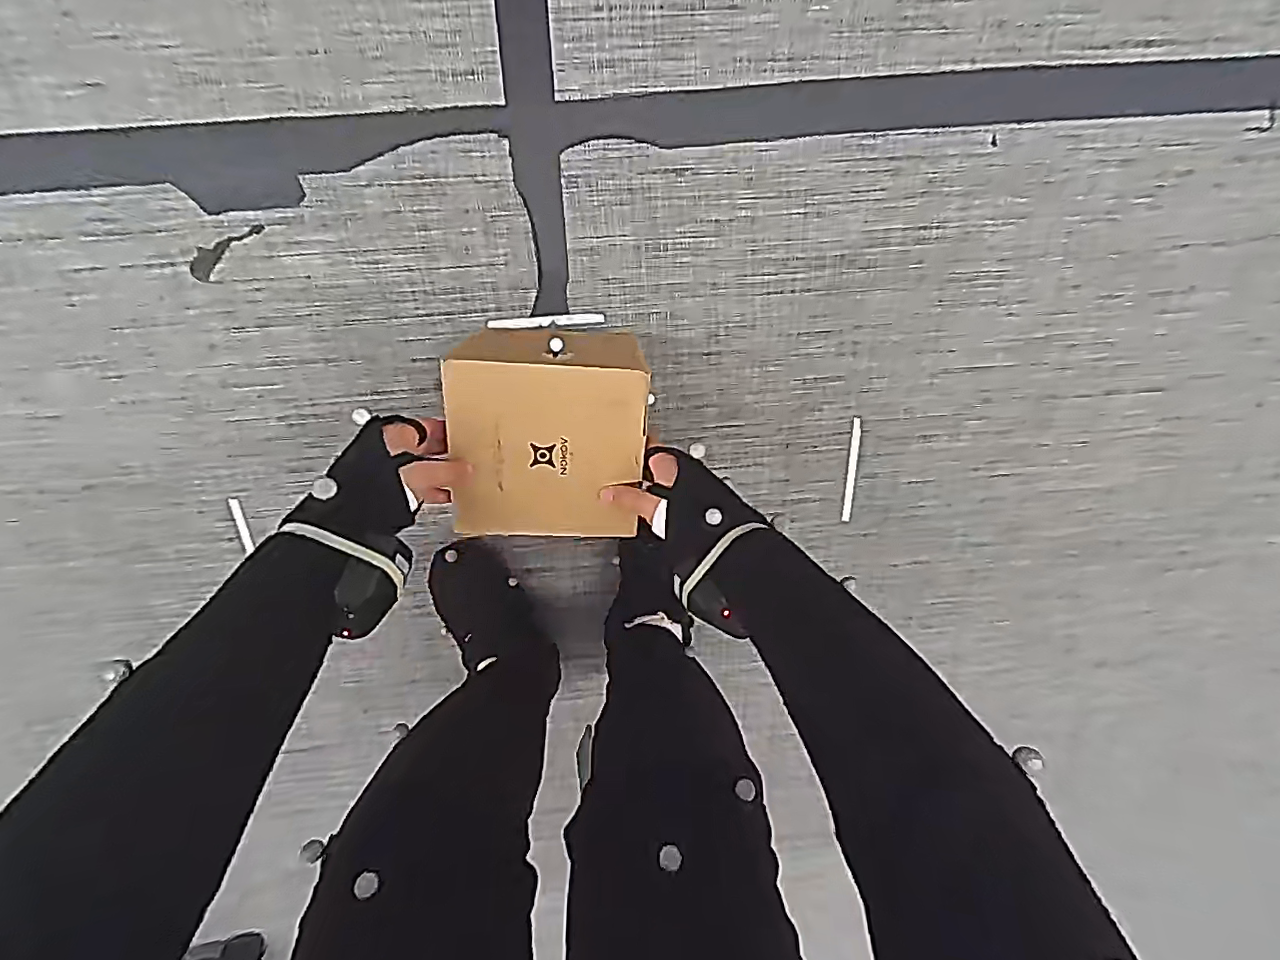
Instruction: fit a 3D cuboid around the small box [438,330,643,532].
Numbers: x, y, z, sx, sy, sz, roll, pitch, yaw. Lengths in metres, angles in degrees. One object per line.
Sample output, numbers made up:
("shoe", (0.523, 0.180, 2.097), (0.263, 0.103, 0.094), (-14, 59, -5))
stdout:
("small box", (-0.095, -0.059, 0.564), (0.179, 0.176, 0.168), (2, 114, -5))
